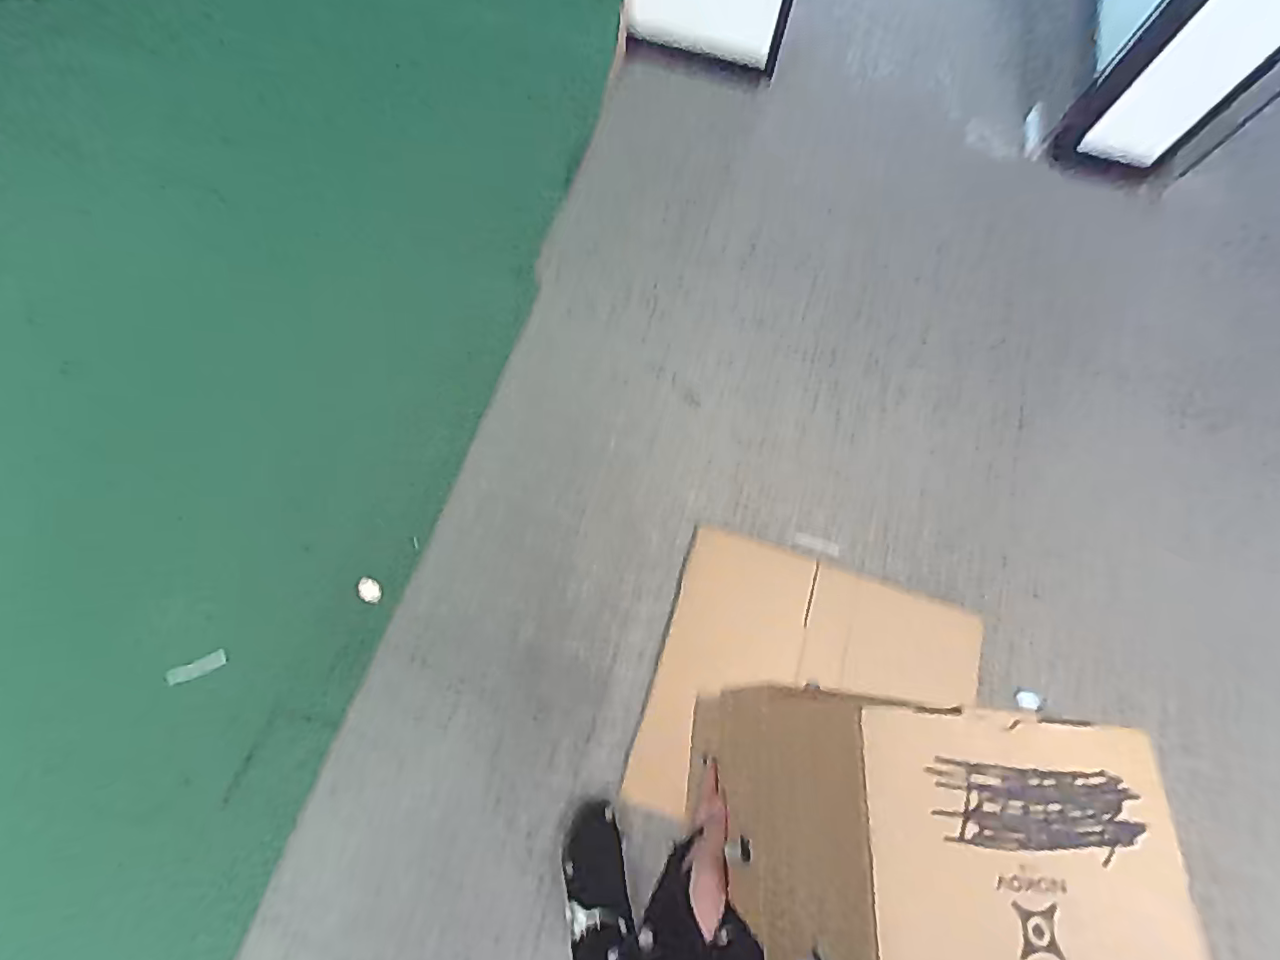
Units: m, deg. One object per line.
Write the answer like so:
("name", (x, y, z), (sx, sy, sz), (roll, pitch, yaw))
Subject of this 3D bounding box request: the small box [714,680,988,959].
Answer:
("small box", (0.165, 0.283, 0.478), (0.168, 0.176, 0.179), (9, 66, -2))

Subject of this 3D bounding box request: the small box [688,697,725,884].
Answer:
("small box", (0.153, 0.352, 0.627), (0.168, 0.176, 0.179), (8, 66, -1))
